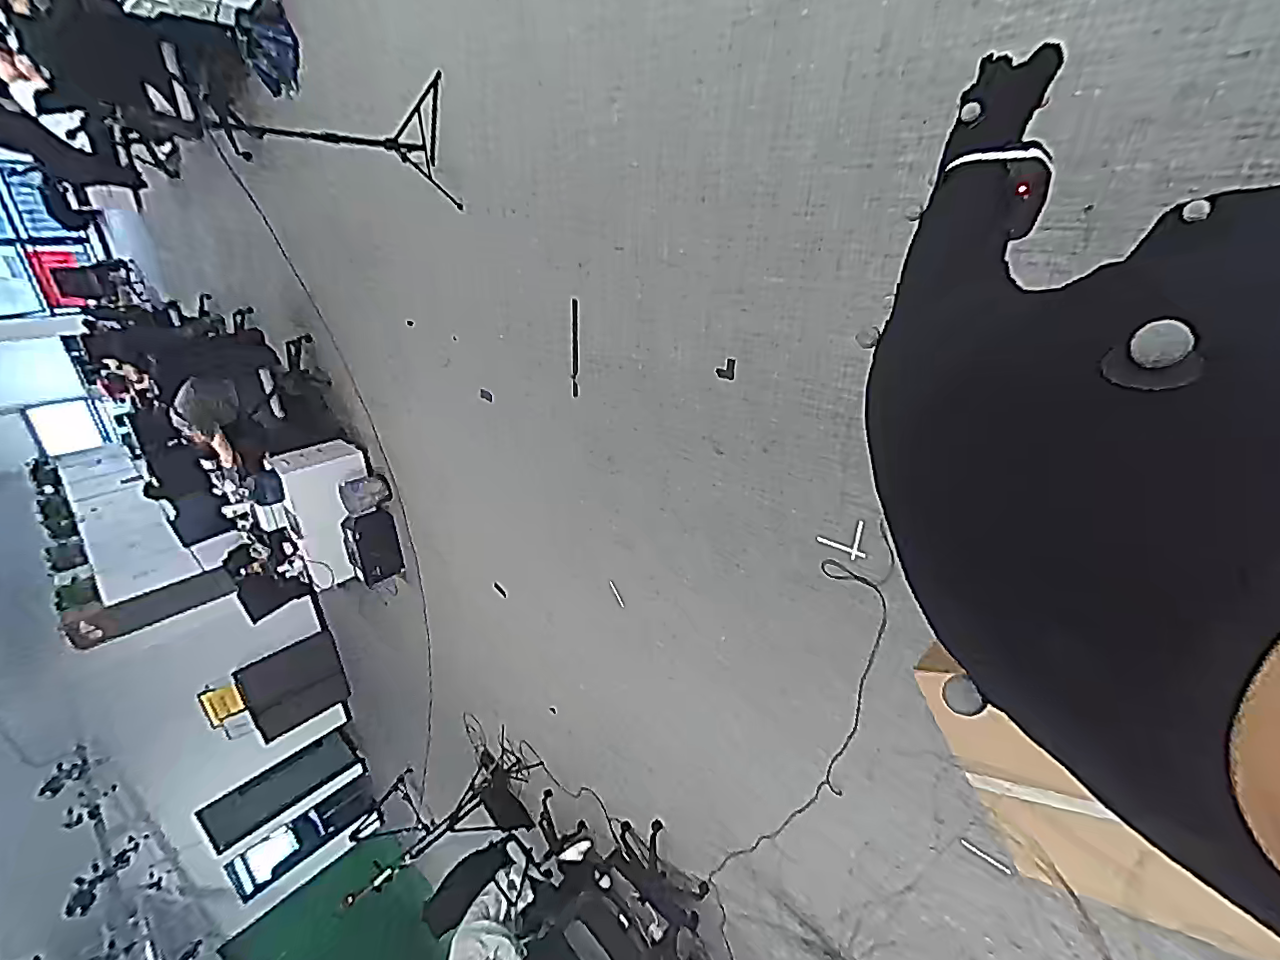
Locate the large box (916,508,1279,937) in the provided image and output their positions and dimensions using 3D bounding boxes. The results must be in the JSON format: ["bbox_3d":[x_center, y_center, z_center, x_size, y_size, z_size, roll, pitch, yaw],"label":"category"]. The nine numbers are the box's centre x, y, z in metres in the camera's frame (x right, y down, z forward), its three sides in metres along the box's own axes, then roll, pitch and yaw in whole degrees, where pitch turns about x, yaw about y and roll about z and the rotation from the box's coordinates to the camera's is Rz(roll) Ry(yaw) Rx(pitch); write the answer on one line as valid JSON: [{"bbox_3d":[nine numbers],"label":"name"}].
[{"bbox_3d":[0.628,0.249,0.621,0.408,0.320,0.320,-22,99,57],"label":"large box"}]
